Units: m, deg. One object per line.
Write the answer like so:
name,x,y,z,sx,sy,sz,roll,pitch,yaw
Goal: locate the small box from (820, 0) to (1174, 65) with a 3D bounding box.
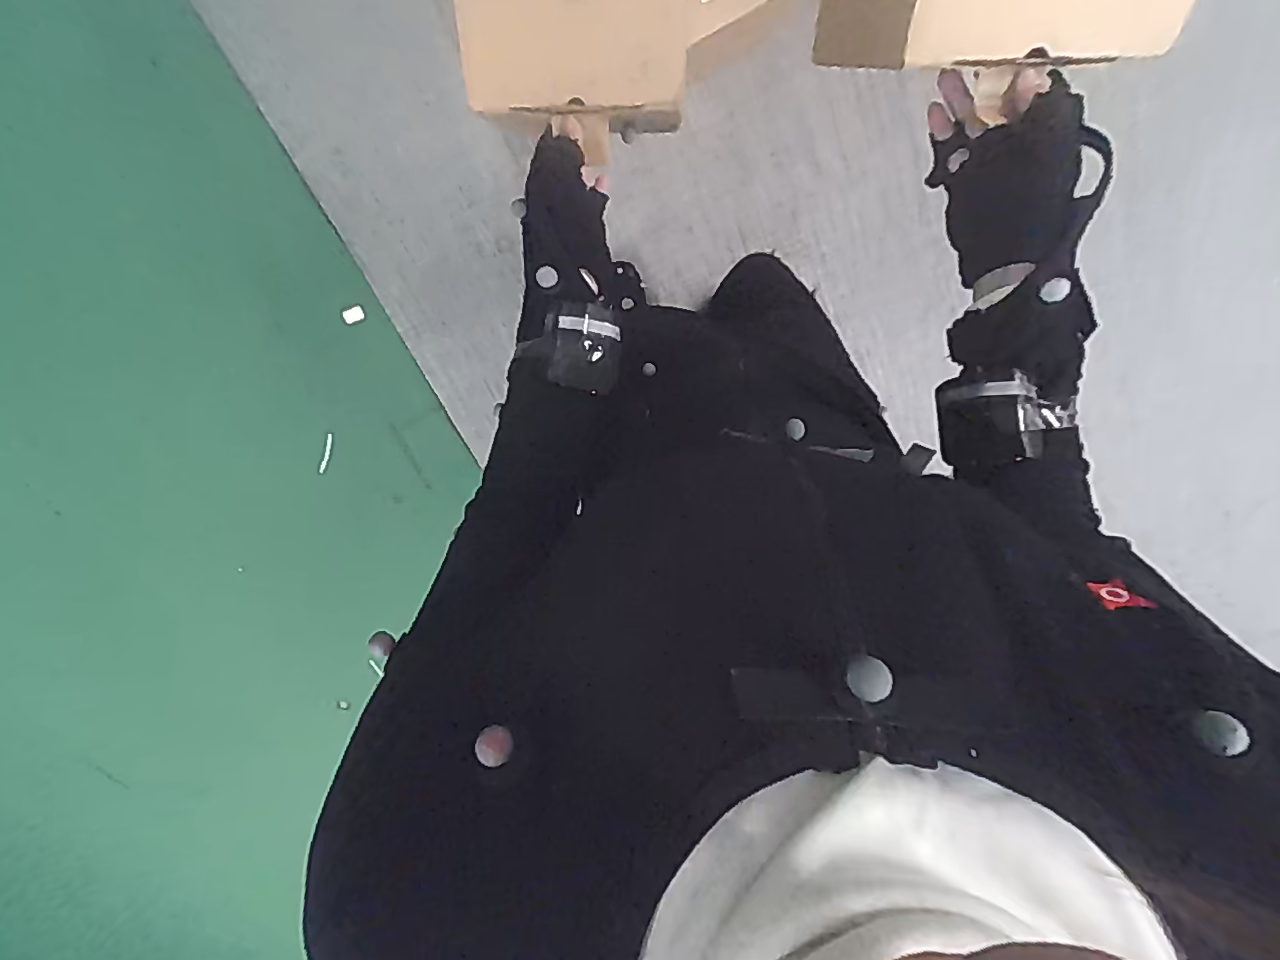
small box,0.229,-0.377,0.341,0.168,0.176,0.179,-4,129,-3
